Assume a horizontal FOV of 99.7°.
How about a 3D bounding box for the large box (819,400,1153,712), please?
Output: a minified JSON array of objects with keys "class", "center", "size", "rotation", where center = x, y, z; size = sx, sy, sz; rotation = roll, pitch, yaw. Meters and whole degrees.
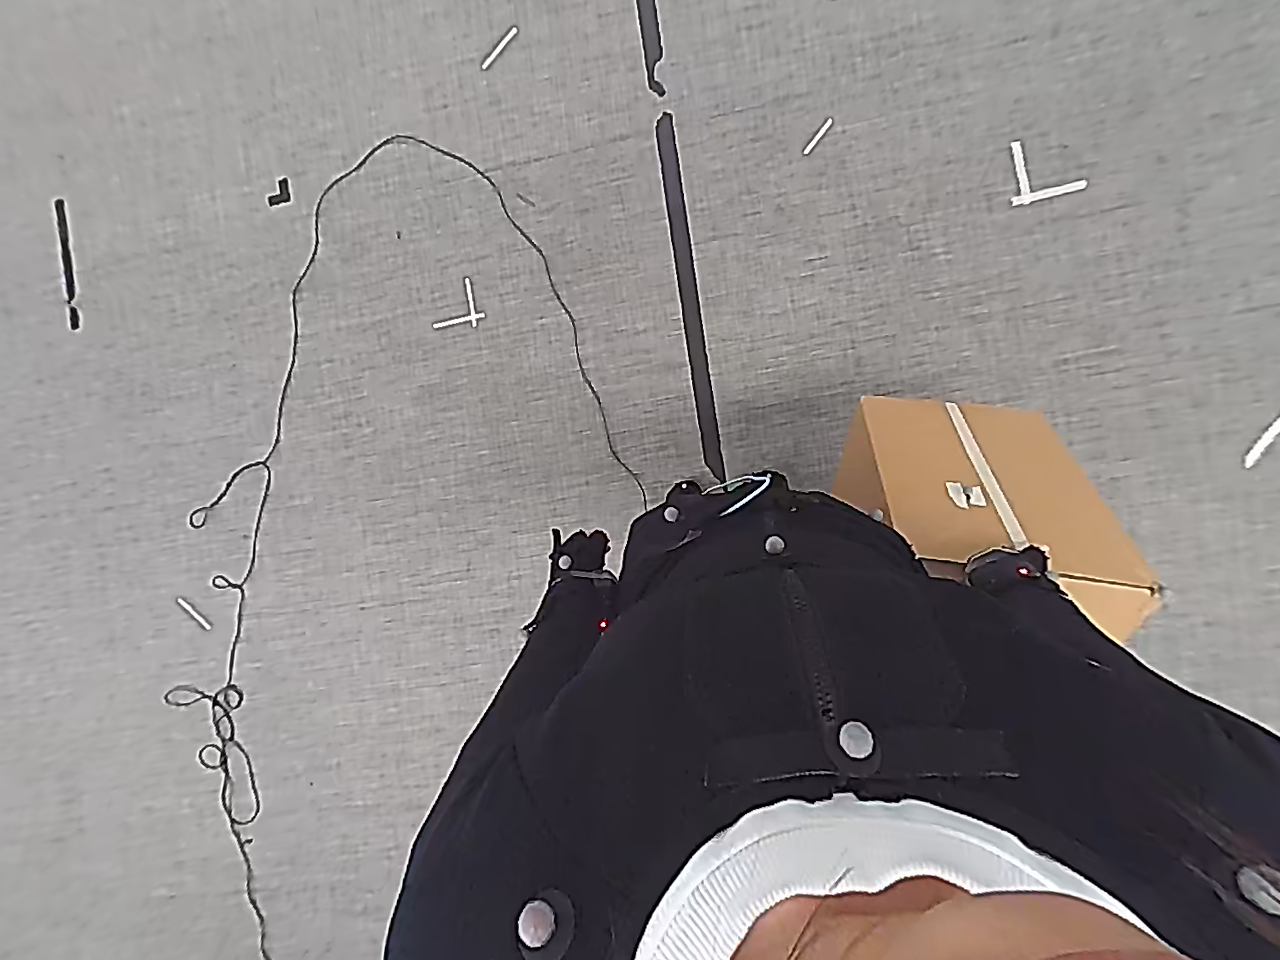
[{"class":"large box","center":[0.508,0.111,0.920],"size":[0.320,0.408,0.320],"rotation":[6,131,8]}]
